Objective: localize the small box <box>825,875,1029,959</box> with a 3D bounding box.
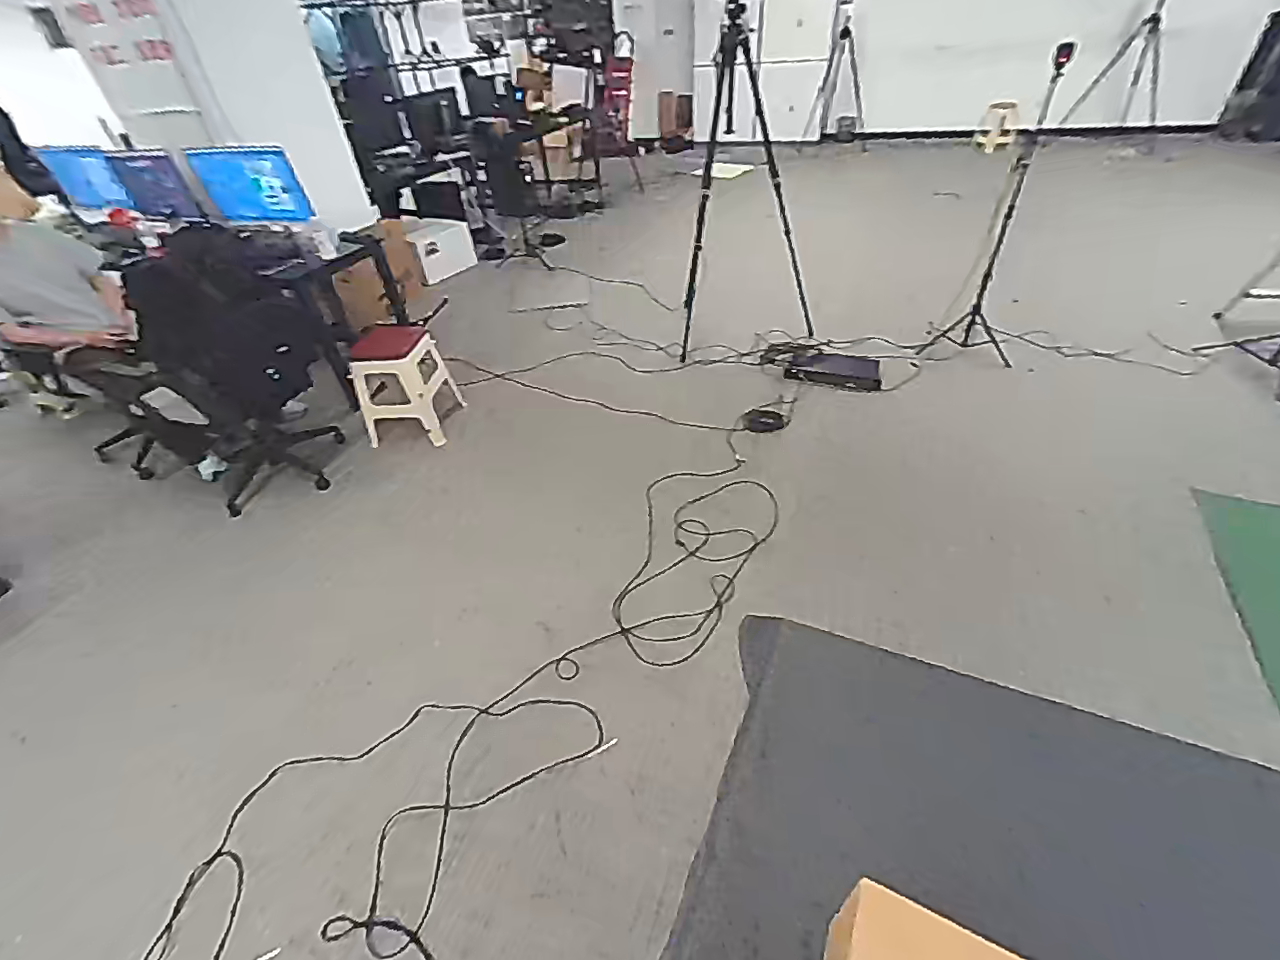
[{"bbox_3d":[0.234,0.482,0.438,0.168,0.176,0.179,17,41,23],"label":"small box"}]
